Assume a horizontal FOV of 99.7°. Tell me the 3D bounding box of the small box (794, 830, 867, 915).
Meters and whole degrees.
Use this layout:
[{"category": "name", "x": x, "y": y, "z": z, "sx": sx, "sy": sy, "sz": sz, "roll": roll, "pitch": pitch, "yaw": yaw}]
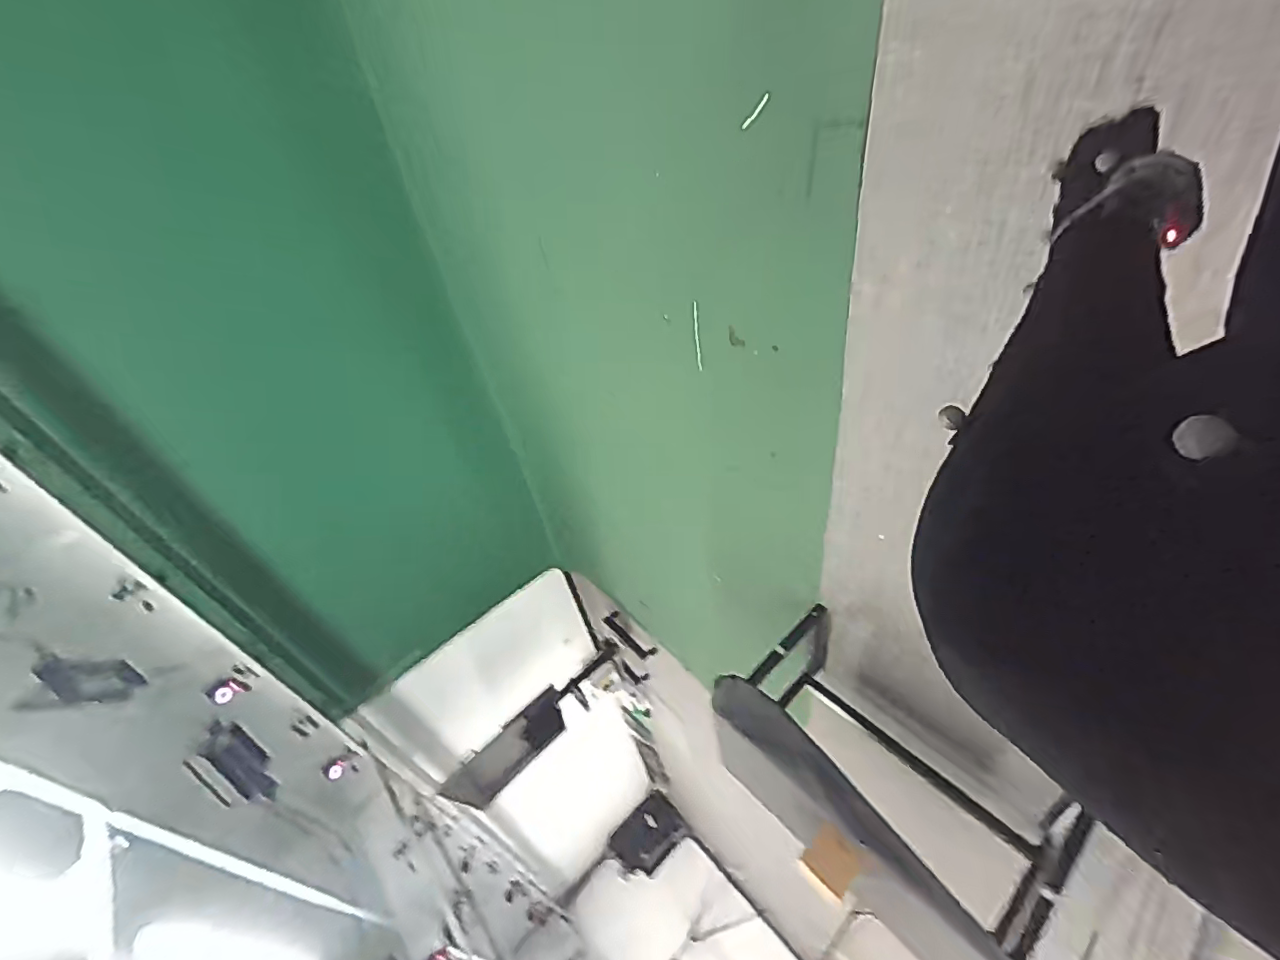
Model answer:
[{"category": "small box", "x": 0.678, "y": 1.392, "z": 1.932, "sx": 0.179, "sy": 0.176, "sz": 0.168, "roll": 35, "pitch": 150, "yaw": 38}]
